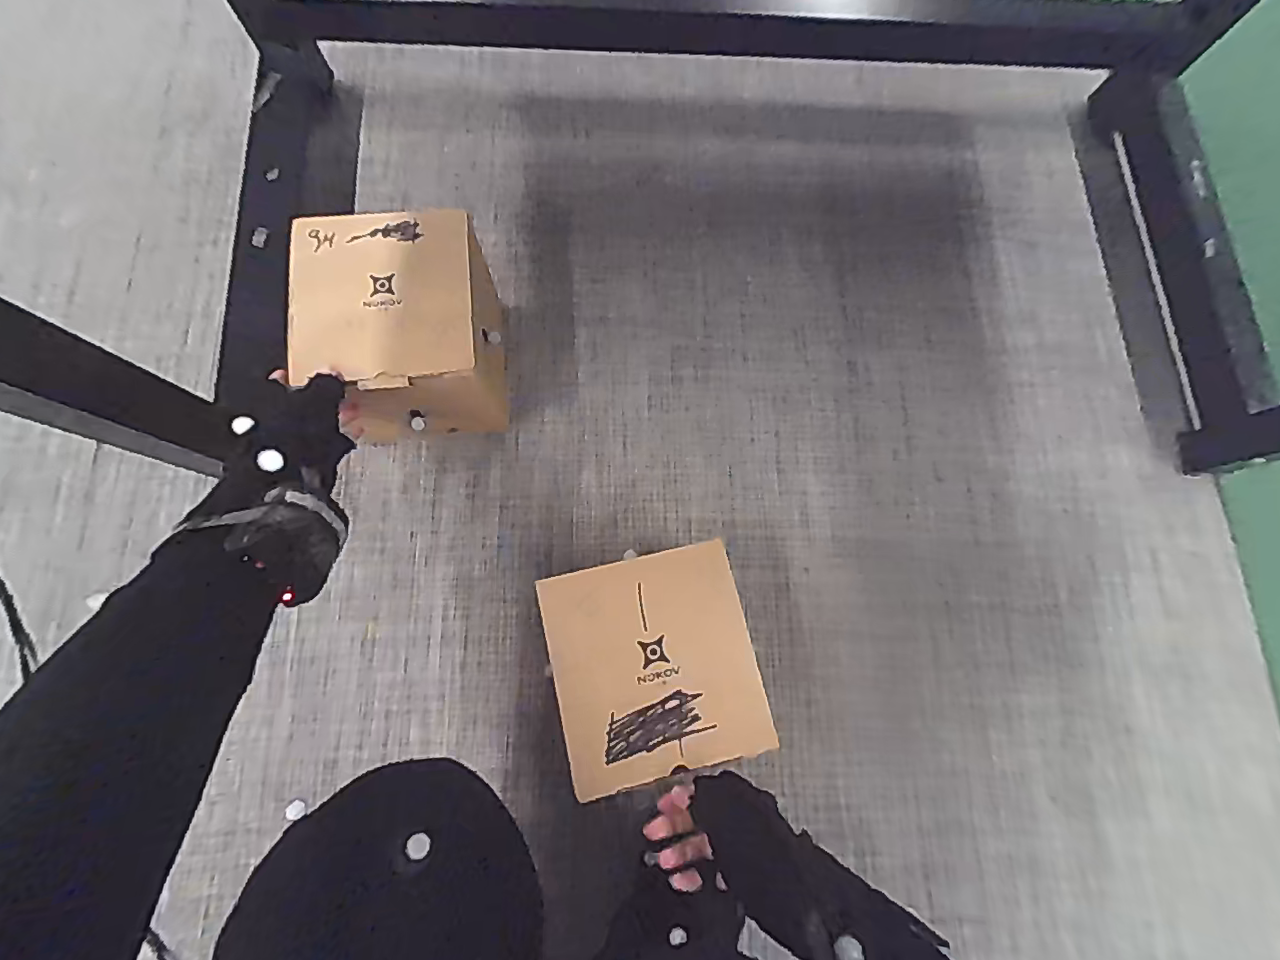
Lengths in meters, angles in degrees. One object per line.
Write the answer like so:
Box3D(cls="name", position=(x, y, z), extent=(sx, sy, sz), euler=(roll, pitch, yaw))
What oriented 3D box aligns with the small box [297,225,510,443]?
Box3D(cls="small box", position=(-0.240, -0.143, 0.586), extent=(0.168, 0.176, 0.179), euler=(-5, 78, -5))
